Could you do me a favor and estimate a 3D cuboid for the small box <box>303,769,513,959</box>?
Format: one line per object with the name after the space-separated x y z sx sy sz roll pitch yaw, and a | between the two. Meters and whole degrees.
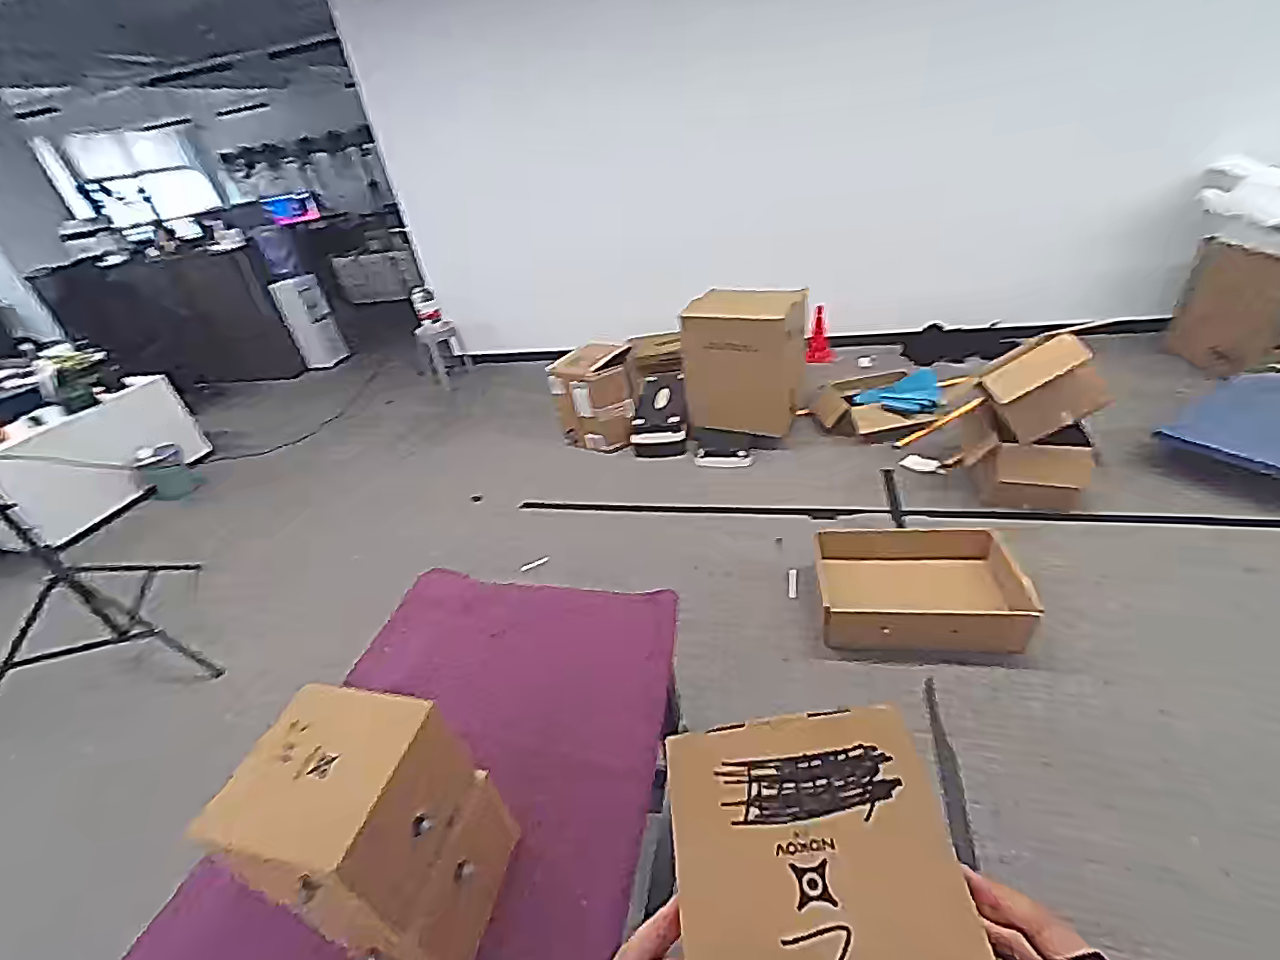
-0.279 0.486 0.686 0.168 0.176 0.179 1 35 16 | small box

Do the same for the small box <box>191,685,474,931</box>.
-0.311 0.355 0.592 0.179 0.176 0.168 1 35 16 | small box
